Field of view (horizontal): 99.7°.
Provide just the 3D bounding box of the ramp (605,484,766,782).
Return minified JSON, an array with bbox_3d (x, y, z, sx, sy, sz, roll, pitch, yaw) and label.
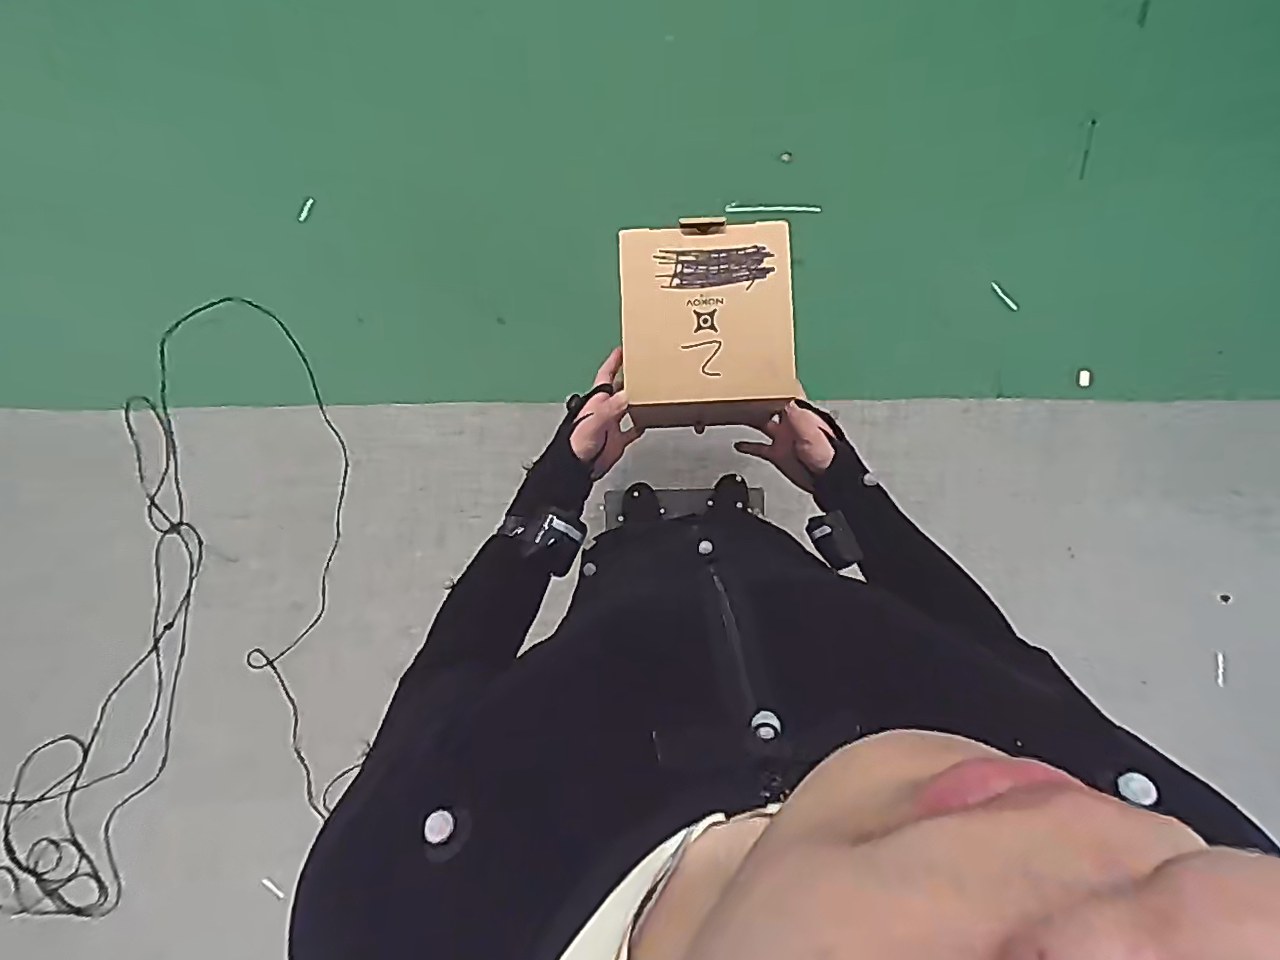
[{"bbox_3d":[0.150,0.507,1.710,0.509,0.206,0.991,-3,90,1],"label":"ramp"}]
